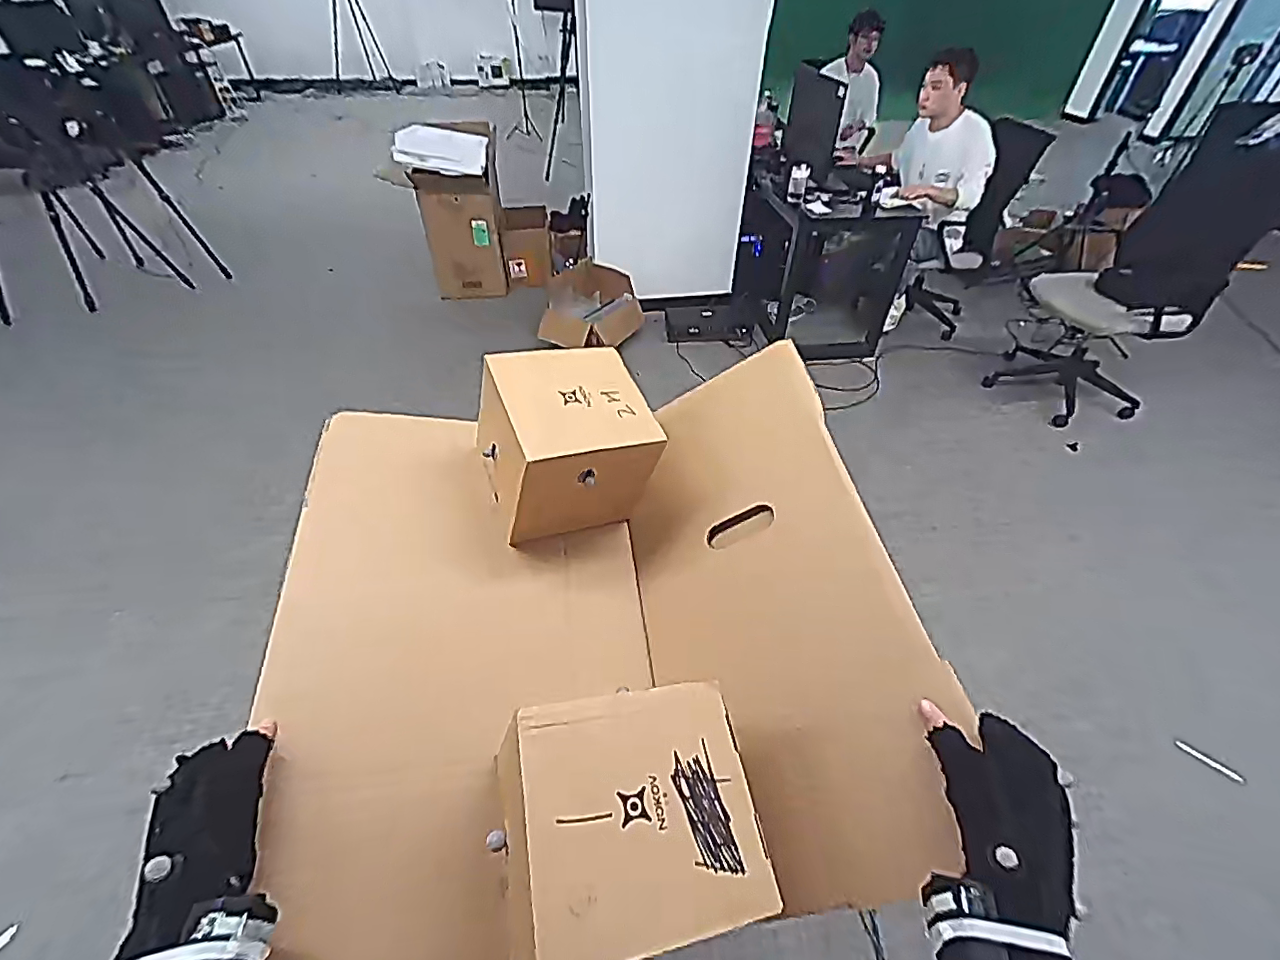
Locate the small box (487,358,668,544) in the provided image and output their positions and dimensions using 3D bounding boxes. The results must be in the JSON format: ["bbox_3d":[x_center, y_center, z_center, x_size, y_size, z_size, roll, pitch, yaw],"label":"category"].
[{"bbox_3d":[-0.093,-0.036,0.697,0.179,0.176,0.168,-9,57,-28],"label":"small box"}]

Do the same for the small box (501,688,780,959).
[{"bbox_3d":[-0.018,0.292,0.459,0.179,0.176,0.168,0,53,-20],"label":"small box"}]
